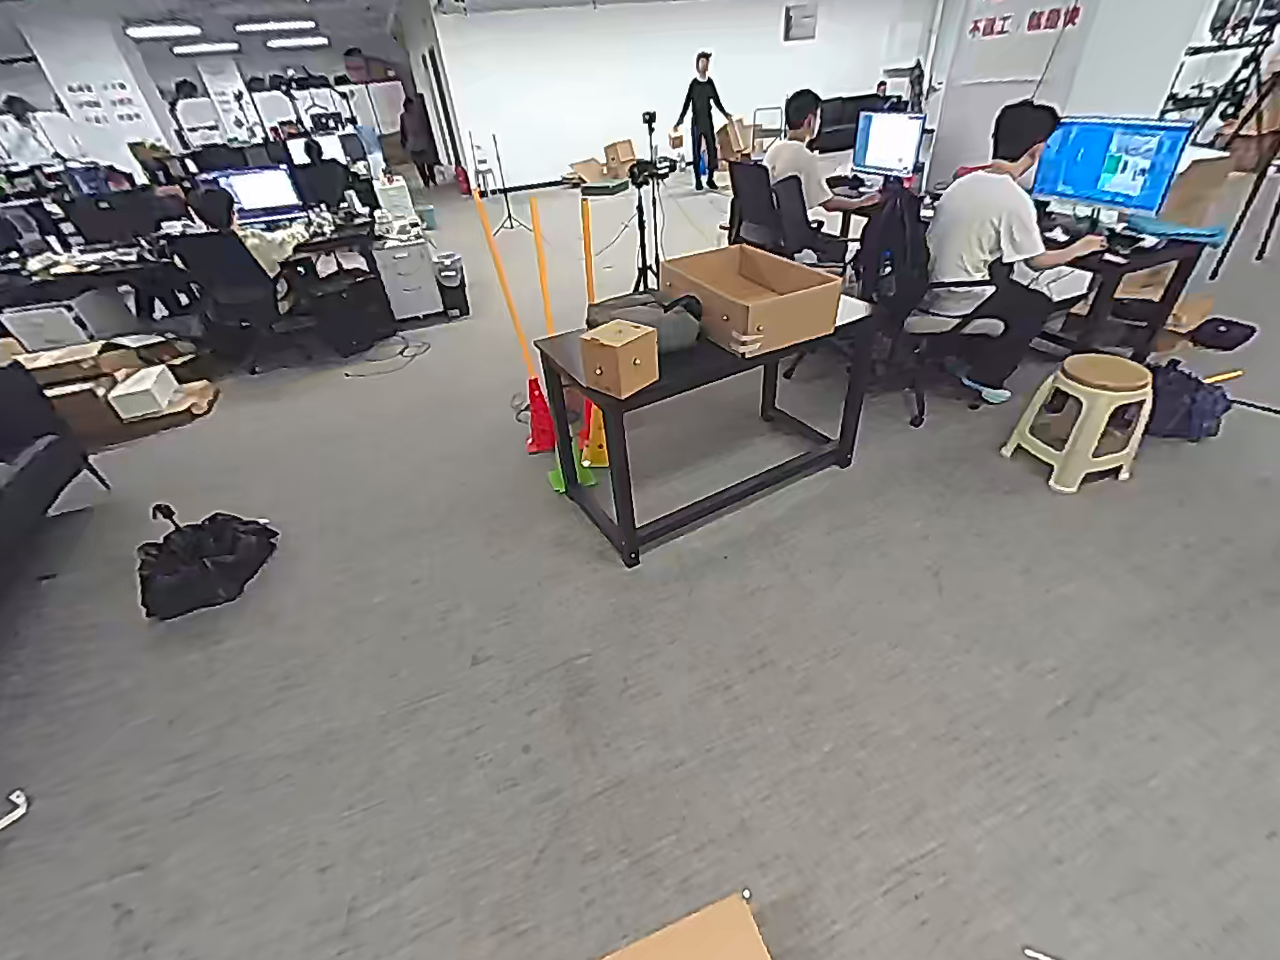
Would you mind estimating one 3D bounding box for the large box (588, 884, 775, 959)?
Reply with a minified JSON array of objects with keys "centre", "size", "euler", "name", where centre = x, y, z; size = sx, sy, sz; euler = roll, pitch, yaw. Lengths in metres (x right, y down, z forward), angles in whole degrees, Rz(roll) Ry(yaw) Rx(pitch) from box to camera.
[{"centre":[0.069,1.008,0.932],"size":[0.408,0.320,0.320],"euler":[-16,38,-13],"name":"large box"}]
